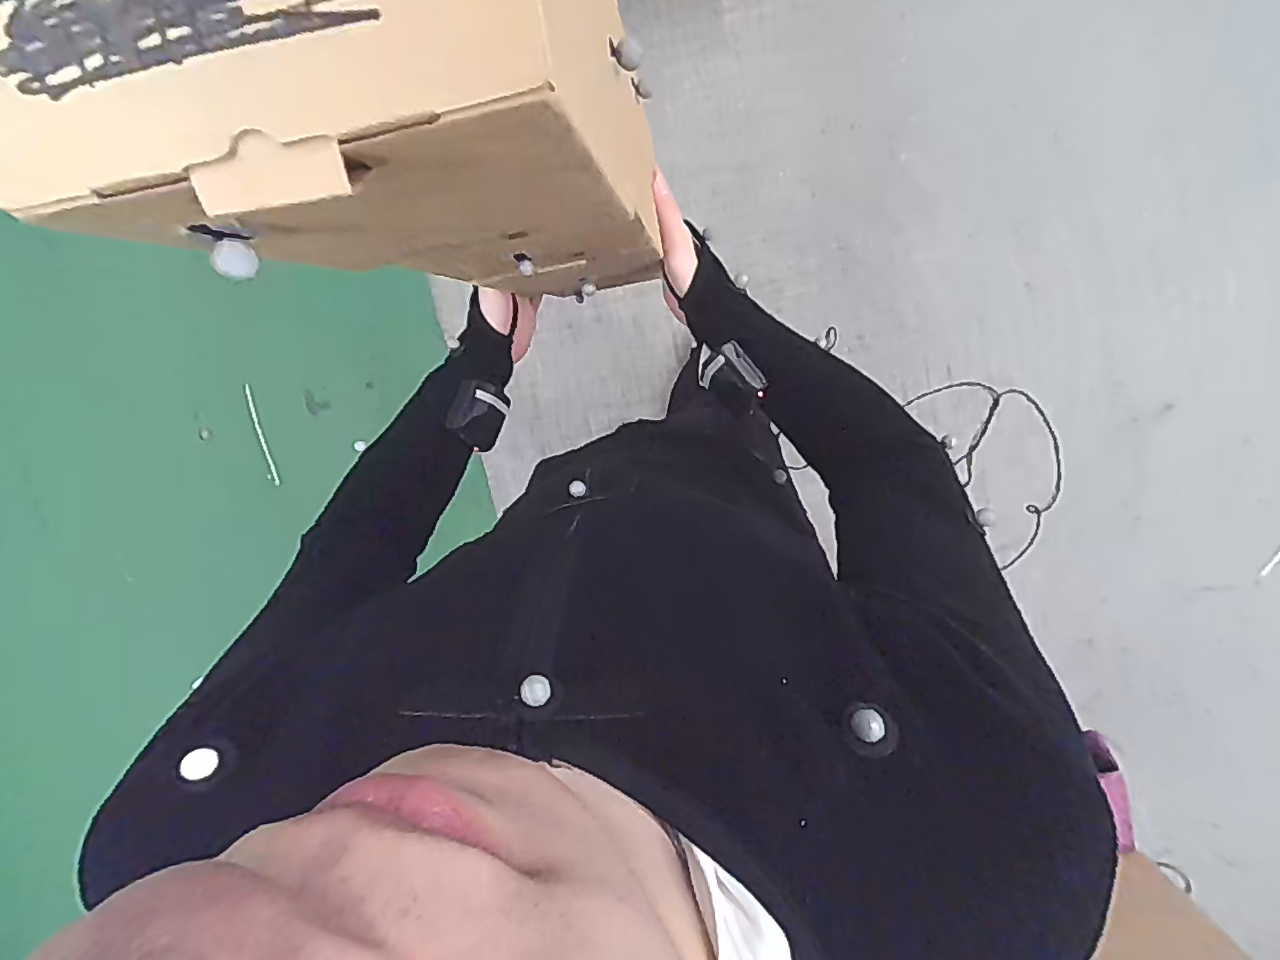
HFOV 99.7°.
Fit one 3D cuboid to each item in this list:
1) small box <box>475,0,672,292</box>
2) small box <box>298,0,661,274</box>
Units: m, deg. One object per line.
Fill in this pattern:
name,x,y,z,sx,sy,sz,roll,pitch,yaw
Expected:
small box,-0.064,-0.285,0.505,0.168,0.176,0.179,-8,104,9
small box,-0.081,-0.245,0.350,0.168,0.176,0.179,-9,105,8
